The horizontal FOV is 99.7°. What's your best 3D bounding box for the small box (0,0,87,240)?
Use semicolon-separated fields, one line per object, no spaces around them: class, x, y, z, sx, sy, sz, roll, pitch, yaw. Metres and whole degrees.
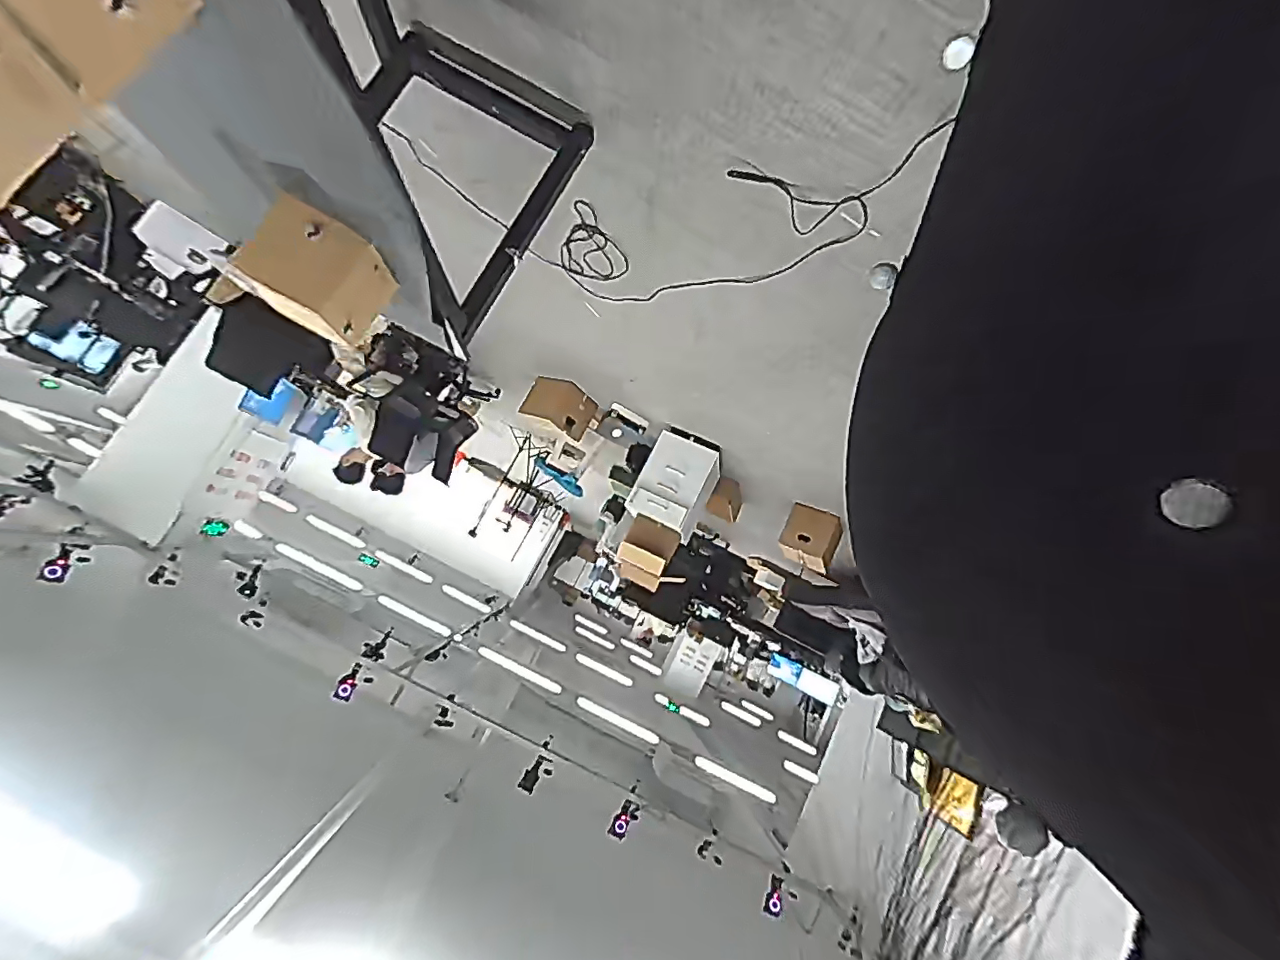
small box;-0.582;-0.319;0.399;0.179;0.176;0.168;34;167;-17

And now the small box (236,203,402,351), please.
small box;-0.590;-0.383;1.020;0.179;0.176;0.168;30;169;-2

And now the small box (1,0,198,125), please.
small box;-0.517;-0.461;0.447;0.179;0.176;0.168;34;167;-22
